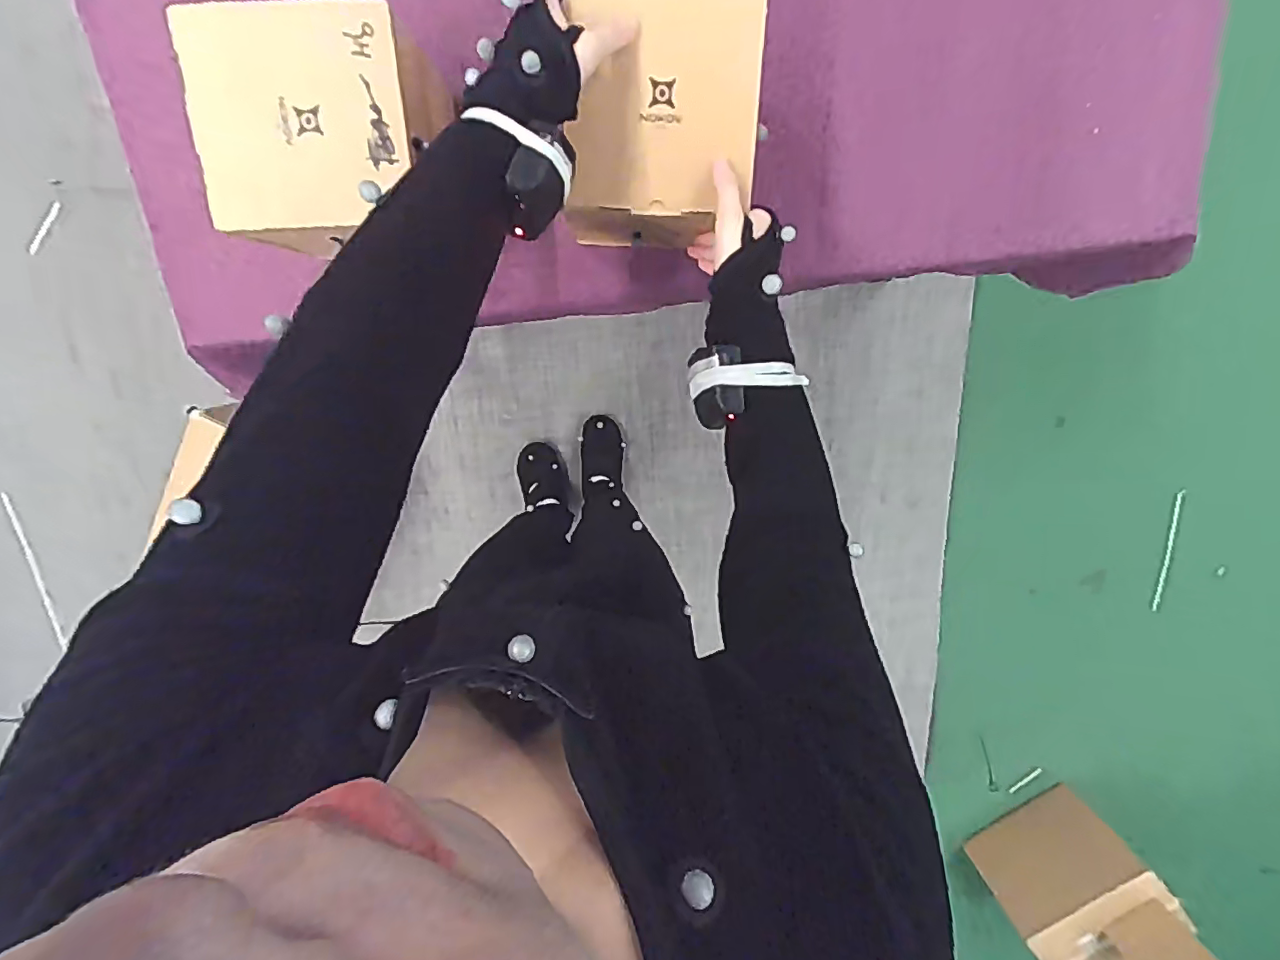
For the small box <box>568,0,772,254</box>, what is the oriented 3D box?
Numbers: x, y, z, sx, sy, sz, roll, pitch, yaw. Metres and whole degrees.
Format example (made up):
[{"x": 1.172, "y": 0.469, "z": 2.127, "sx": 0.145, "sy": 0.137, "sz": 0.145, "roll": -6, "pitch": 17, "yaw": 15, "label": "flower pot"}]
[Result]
[{"x": 0.019, "y": -0.333, "z": 0.533, "sx": 0.168, "sy": 0.176, "sz": 0.179, "roll": 2, "pitch": 106, "yaw": -2, "label": "small box"}]

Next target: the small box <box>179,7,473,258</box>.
[{"x": -0.279, "y": -0.315, "z": 0.526, "sx": 0.179, "sy": 0.176, "sz": 0.168, "roll": -2, "pitch": 106, "yaw": -1, "label": "small box"}]

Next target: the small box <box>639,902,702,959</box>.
[{"x": 0.094, "y": 1.493, "z": 1.728, "sx": 0.179, "sy": 0.176, "sz": 0.168, "roll": 3, "pitch": 104, "yaw": -3, "label": "small box"}]
